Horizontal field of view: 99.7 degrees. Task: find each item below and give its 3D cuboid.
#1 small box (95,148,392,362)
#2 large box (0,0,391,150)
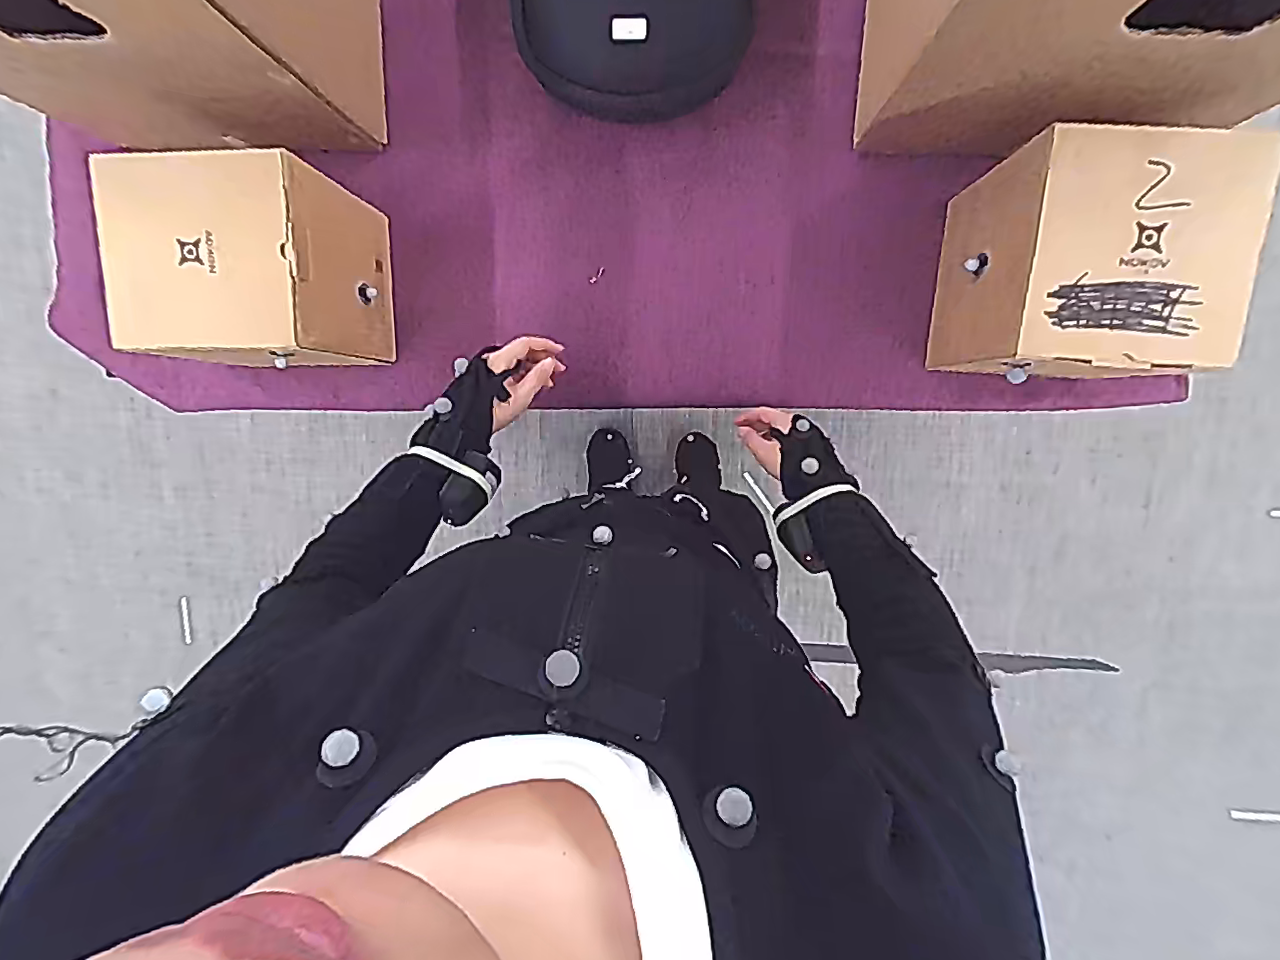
[{"bbox_3d":[-0.384,-0.212,0.555,0.179,0.176,0.168,0,98,3],"label":"small box"},{"bbox_3d":[-0.434,-0.543,0.434,0.320,0.320,0.408,1,101,3],"label":"large box"}]
